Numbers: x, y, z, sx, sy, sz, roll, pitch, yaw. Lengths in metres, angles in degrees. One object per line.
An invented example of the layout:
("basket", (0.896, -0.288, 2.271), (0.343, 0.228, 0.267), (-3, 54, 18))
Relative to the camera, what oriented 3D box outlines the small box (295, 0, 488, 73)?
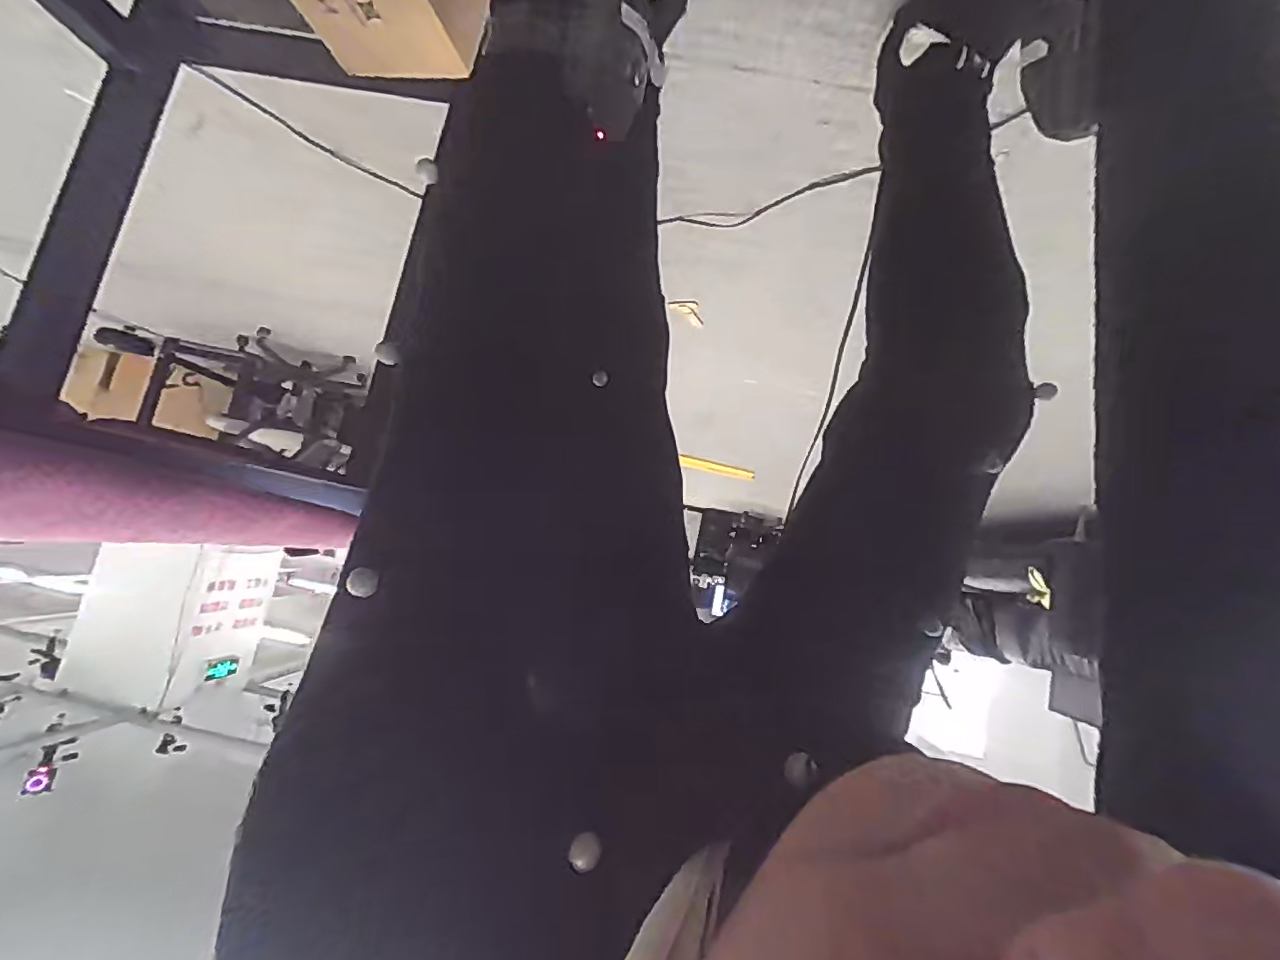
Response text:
("small box", (-0.273, -0.583, 0.577), (0.179, 0.176, 0.168), (11, 172, 11))
